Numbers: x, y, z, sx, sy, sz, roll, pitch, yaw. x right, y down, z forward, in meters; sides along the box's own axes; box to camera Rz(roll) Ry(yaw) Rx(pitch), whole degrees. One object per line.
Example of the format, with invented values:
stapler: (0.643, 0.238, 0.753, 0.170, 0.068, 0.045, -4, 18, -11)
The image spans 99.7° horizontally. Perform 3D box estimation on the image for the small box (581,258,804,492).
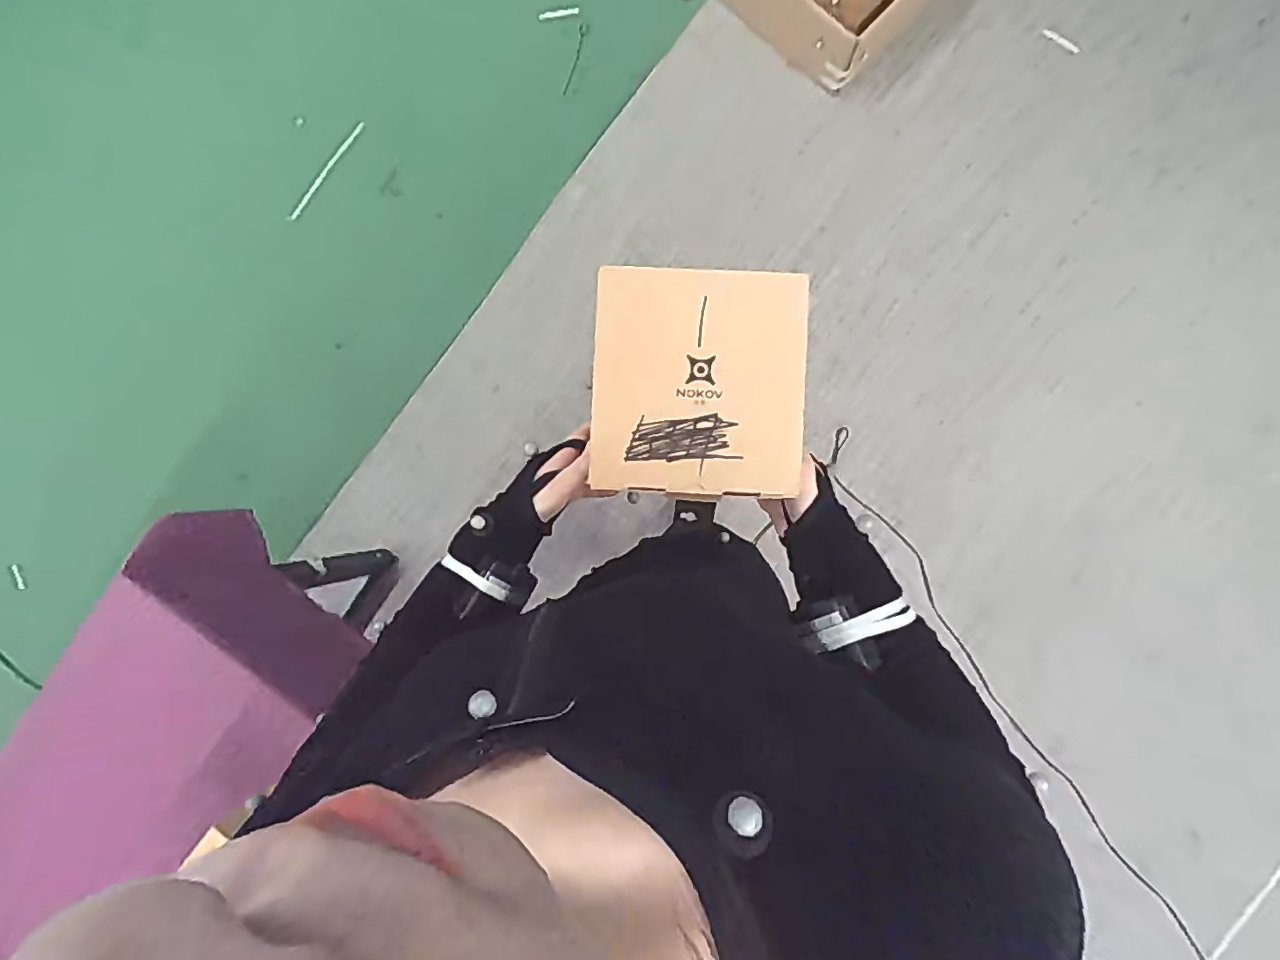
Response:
small box: (0.042, -0.082, 0.498, 0.168, 0.176, 0.179, 3, 89, 1)

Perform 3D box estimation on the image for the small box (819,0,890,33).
small box: (0.576, -1.313, 1.381, 0.168, 0.176, 0.179, 42, 93, 6)
